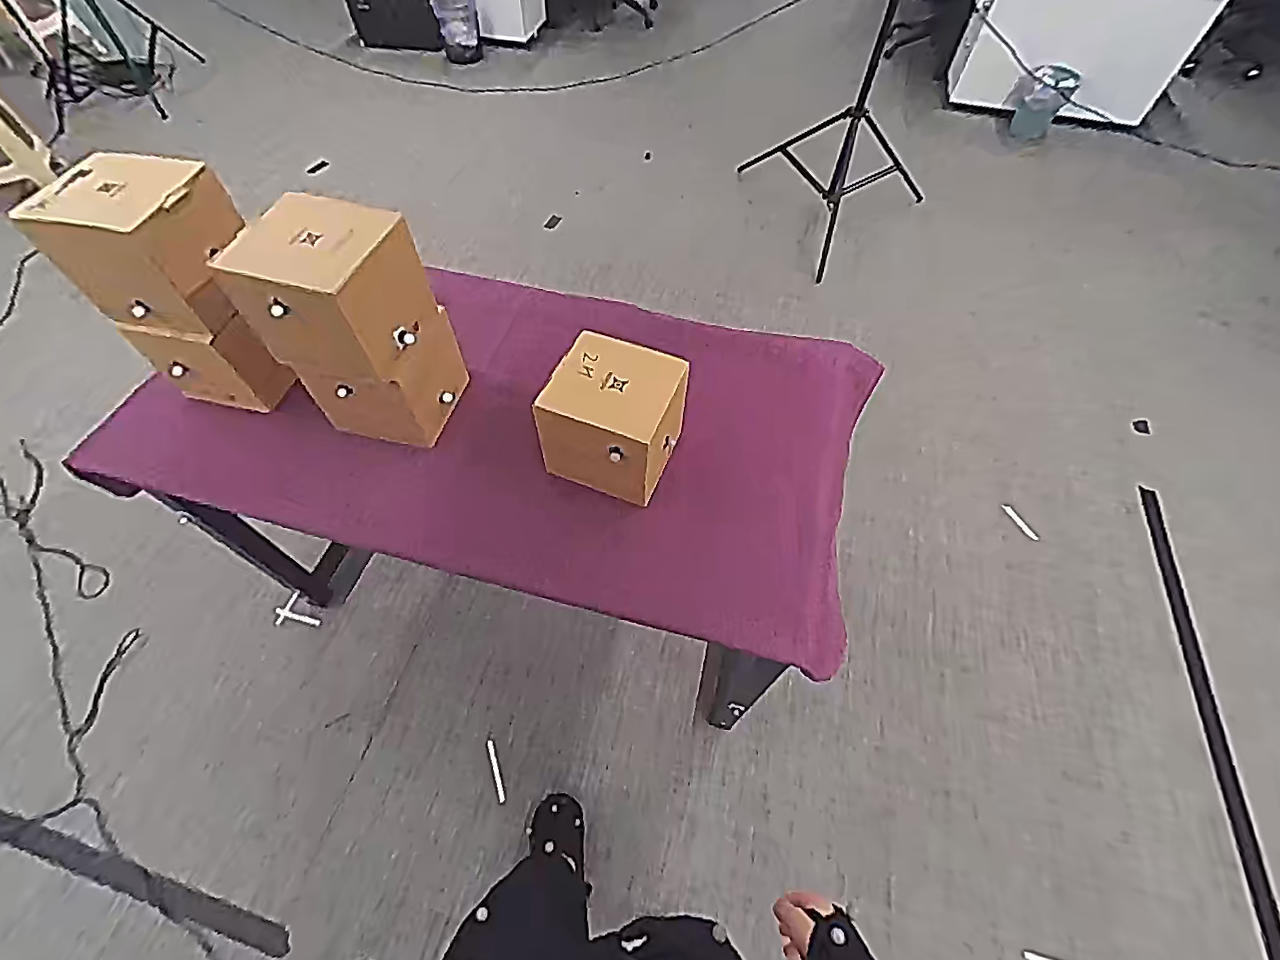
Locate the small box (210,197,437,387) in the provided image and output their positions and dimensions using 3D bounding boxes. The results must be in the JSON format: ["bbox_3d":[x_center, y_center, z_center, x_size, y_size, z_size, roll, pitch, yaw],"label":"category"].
[{"bbox_3d":[-0.411,-0.251,0.740,0.179,0.176,0.168,14,59,6],"label":"small box"}]

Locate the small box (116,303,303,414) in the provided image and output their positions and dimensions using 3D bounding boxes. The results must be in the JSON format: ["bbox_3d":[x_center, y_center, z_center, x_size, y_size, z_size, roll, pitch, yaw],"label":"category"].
[{"bbox_3d":[-0.696,-0.236,0.918,0.168,0.176,0.179,10,57,5],"label":"small box"}]

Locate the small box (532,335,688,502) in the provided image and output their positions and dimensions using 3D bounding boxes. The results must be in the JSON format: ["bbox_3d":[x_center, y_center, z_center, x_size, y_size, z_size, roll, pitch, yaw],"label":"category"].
[{"bbox_3d":[-0.040,-0.088,0.834,0.179,0.176,0.168,19,58,11],"label":"small box"}]

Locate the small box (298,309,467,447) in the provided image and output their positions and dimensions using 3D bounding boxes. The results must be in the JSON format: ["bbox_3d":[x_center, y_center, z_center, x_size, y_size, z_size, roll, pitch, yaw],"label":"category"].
[{"bbox_3d":[-0.410,-0.174,0.882,0.179,0.176,0.168,12,58,5],"label":"small box"}]

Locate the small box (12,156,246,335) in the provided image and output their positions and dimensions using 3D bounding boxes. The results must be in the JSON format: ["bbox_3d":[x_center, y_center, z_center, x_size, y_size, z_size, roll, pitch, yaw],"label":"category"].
[{"bbox_3d":[-0.697,-0.332,0.785,0.179,0.176,0.168,9,57,4],"label":"small box"}]
